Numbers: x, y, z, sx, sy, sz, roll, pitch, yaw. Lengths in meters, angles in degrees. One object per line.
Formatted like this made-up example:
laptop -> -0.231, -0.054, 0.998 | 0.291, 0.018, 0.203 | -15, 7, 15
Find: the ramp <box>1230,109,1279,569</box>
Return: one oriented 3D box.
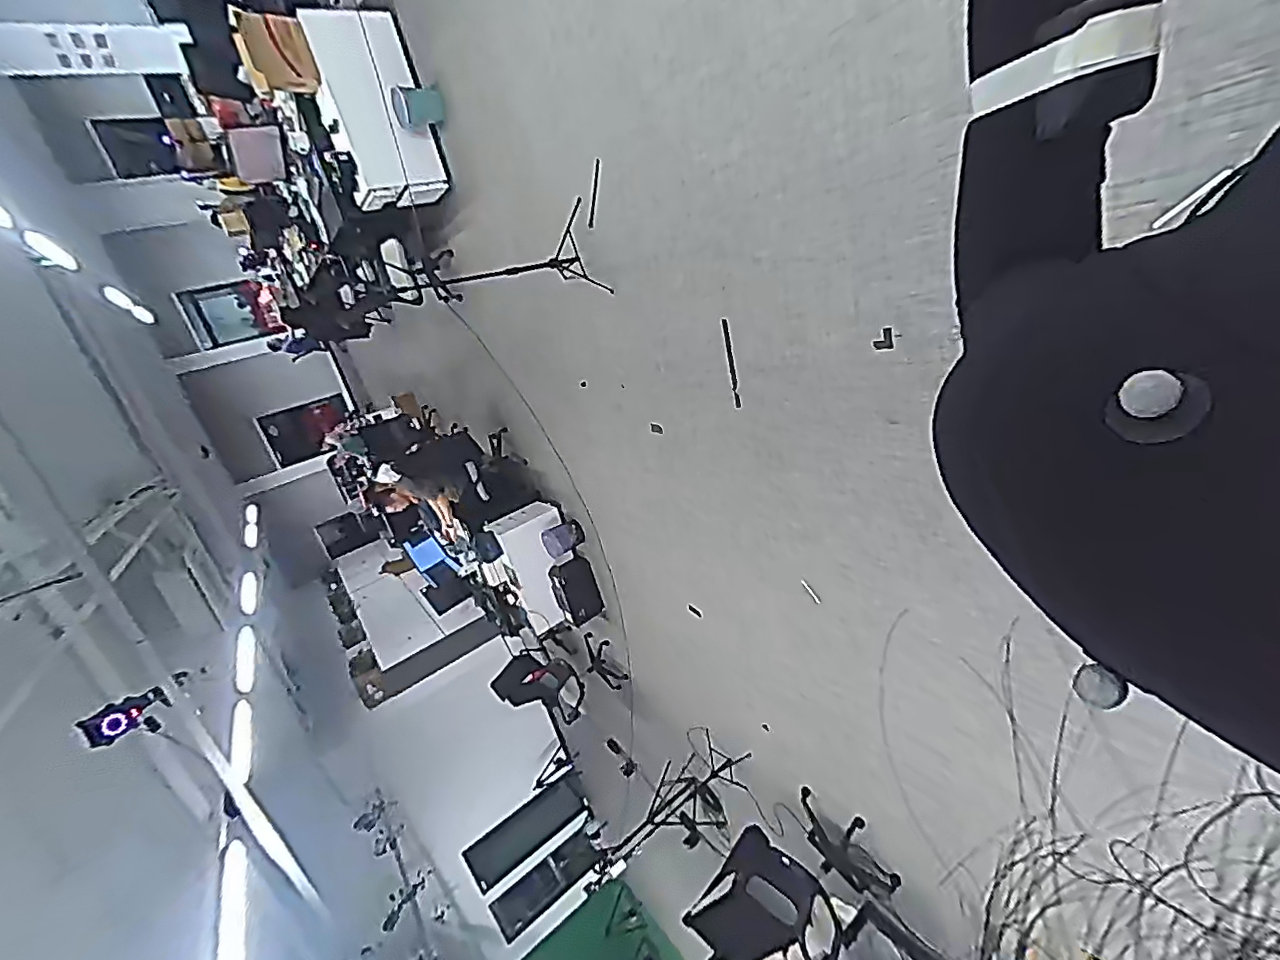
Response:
ramp -> 1.393, -0.184, 0.915 | 0.509, 0.206, 0.991 | 9, 122, 53
